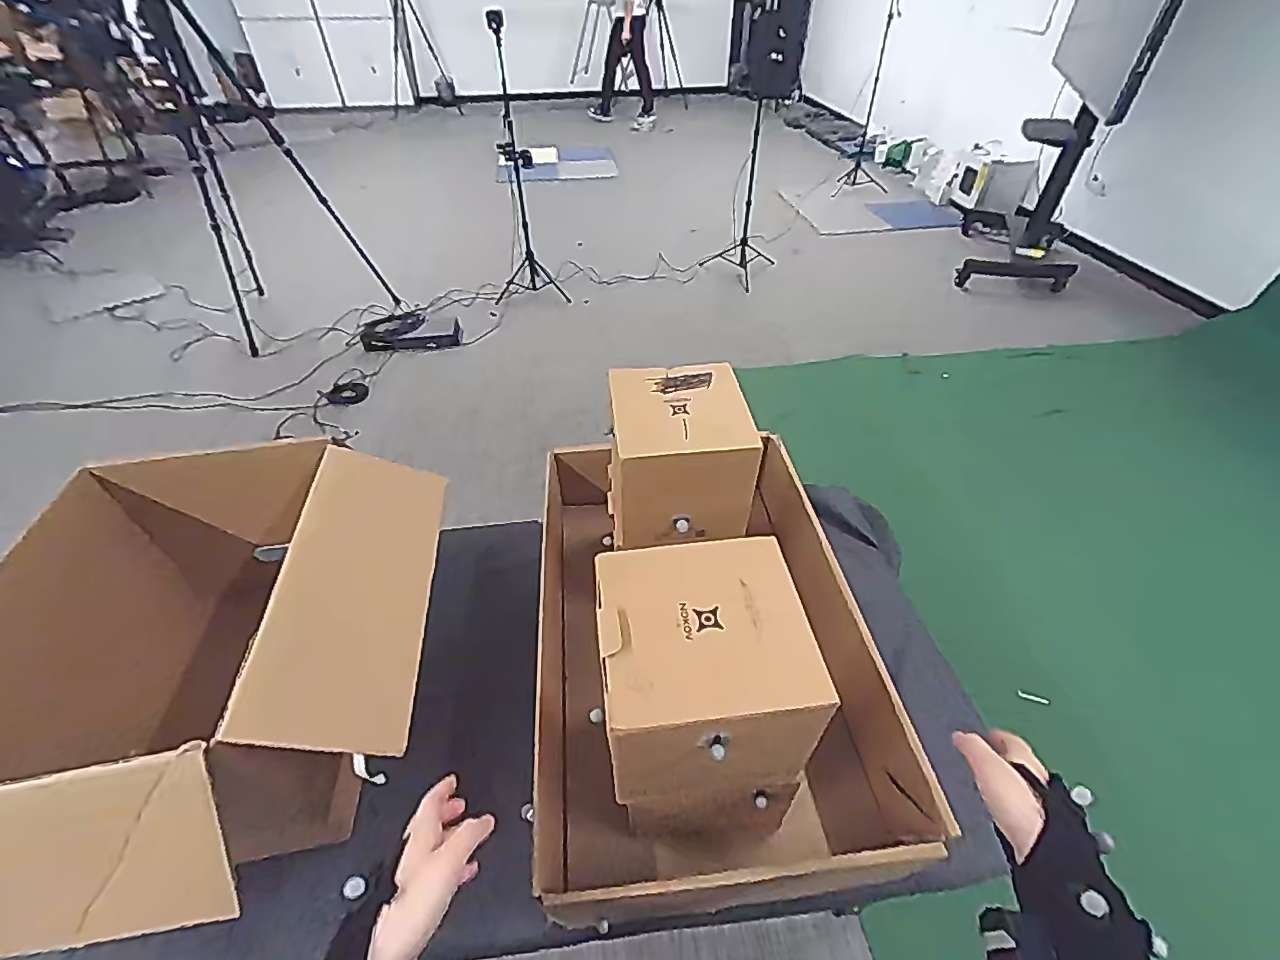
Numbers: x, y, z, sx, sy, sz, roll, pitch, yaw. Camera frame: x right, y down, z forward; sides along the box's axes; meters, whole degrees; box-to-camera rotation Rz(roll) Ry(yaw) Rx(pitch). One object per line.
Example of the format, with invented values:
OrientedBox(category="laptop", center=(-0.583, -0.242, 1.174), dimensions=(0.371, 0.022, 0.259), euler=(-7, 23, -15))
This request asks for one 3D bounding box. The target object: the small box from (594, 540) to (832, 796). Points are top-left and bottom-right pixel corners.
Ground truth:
OrientedBox(category="small box", center=(0.053, 0.179, 0.513), dimensions=(0.179, 0.176, 0.168), euler=(-5, 45, -5))

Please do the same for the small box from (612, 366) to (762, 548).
OrientedBox(category="small box", center=(0.049, -0.031, 0.719), dimensions=(0.168, 0.176, 0.179), euler=(-5, 46, -4))
